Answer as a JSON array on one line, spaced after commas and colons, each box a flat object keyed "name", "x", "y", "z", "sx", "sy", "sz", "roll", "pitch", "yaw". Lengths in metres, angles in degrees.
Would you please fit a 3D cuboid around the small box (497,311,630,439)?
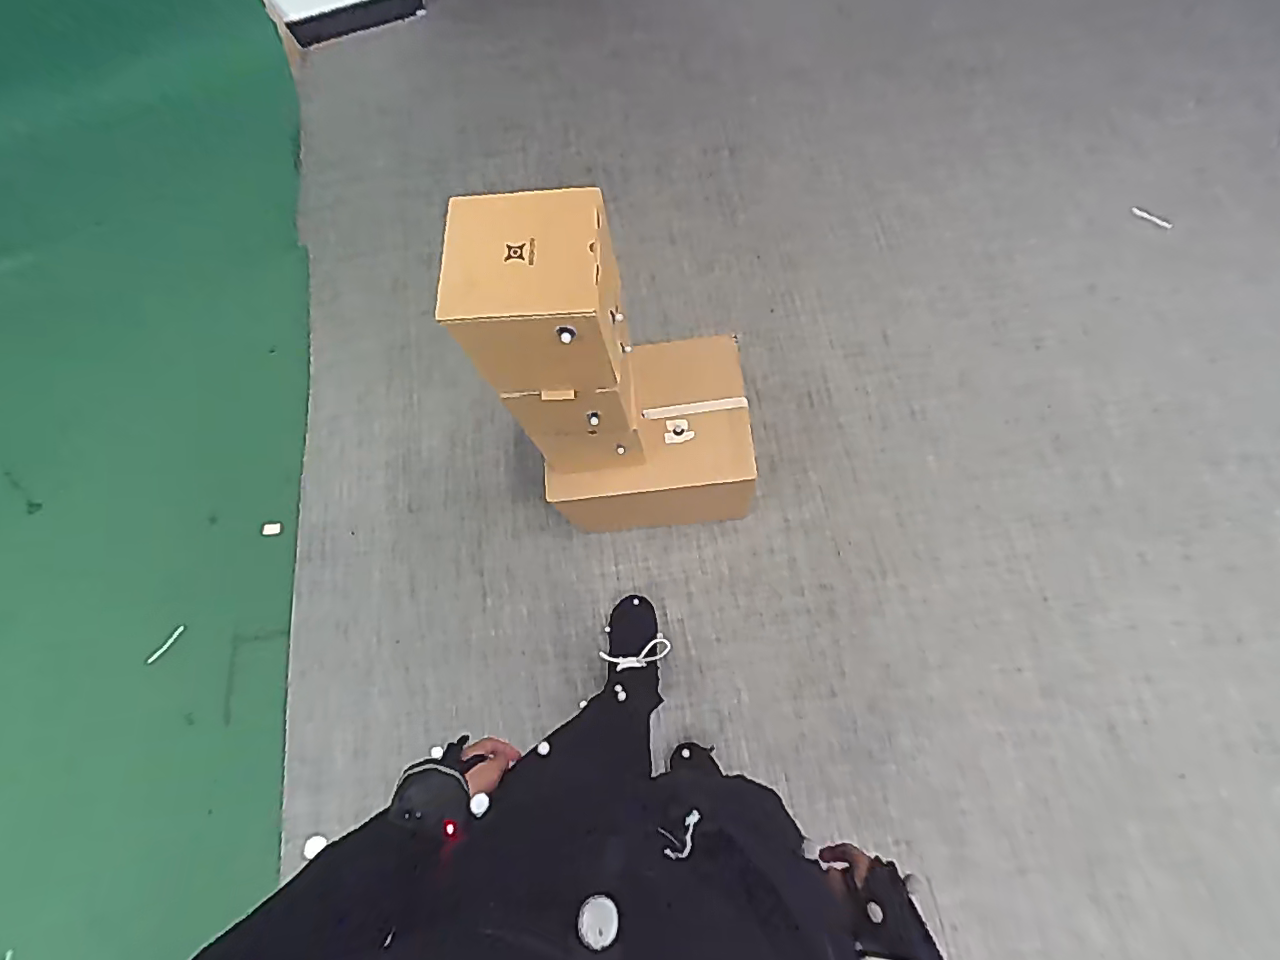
[{"name": "small box", "x": -0.106, "y": -0.168, "z": 0.815, "sx": 0.168, "sy": 0.176, "sz": 0.179, "roll": -3, "pitch": 71, "yaw": 4}]

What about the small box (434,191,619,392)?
[{"name": "small box", "x": -0.124, "y": -0.217, "z": 0.660, "sx": 0.179, "sy": 0.176, "sz": 0.168, "roll": -2, "pitch": 72, "yaw": 4}]

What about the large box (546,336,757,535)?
[{"name": "large box", "x": 0.022, "y": -0.078, "z": 1.199, "sx": 0.408, "sy": 0.320, "sz": 0.320, "roll": -7, "pitch": 73, "yaw": 4}]
